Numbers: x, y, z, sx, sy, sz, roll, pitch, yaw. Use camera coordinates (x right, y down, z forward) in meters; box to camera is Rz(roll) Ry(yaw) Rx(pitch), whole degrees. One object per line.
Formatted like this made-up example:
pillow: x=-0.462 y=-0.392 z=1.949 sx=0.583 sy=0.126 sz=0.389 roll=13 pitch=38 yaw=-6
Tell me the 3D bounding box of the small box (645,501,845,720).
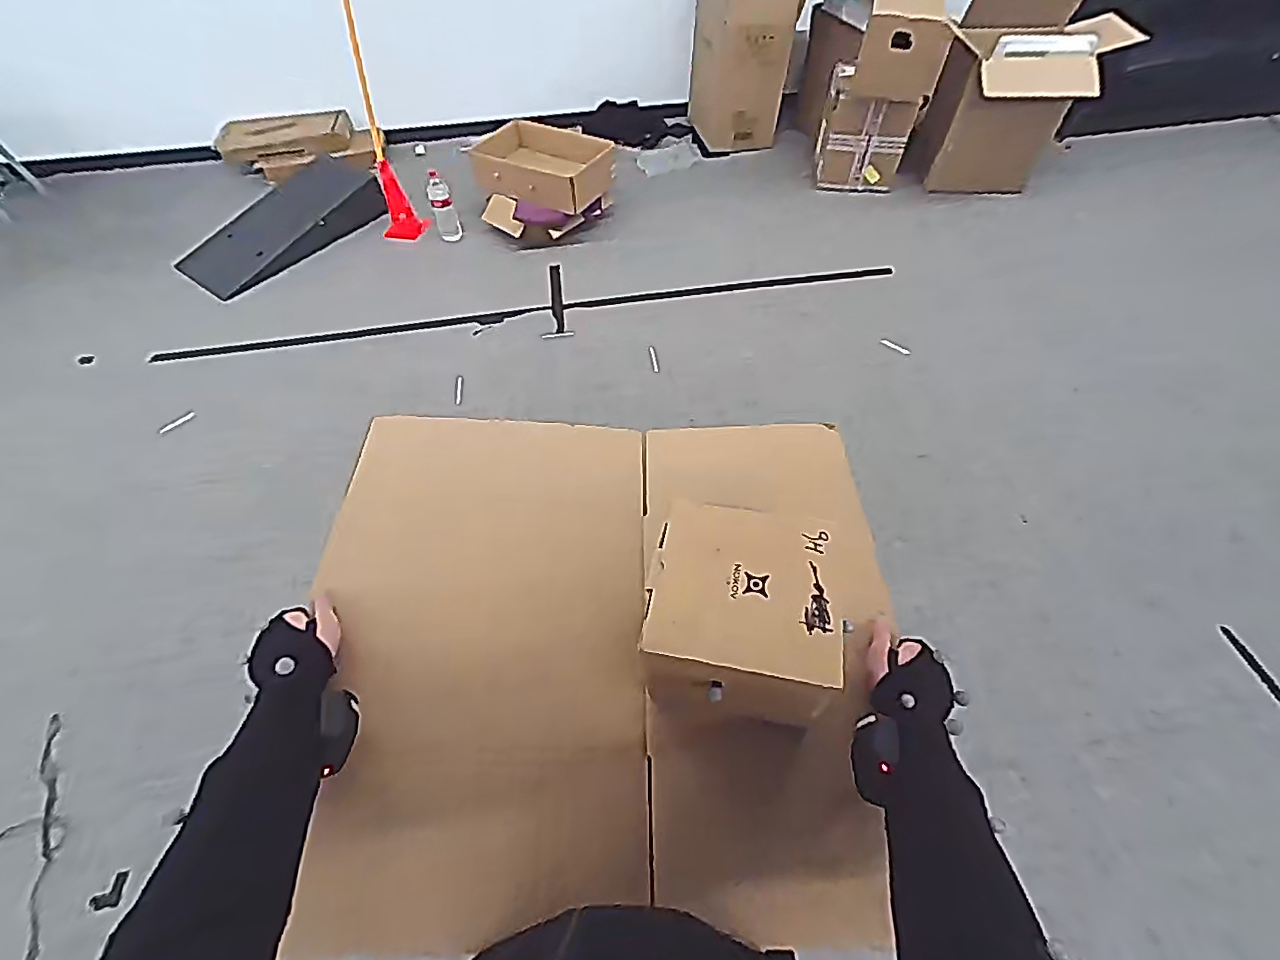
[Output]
small box: x=0.113 y=0.143 z=0.581 sx=0.179 sy=0.176 sz=0.168 roll=7 pitch=56 yaw=11
